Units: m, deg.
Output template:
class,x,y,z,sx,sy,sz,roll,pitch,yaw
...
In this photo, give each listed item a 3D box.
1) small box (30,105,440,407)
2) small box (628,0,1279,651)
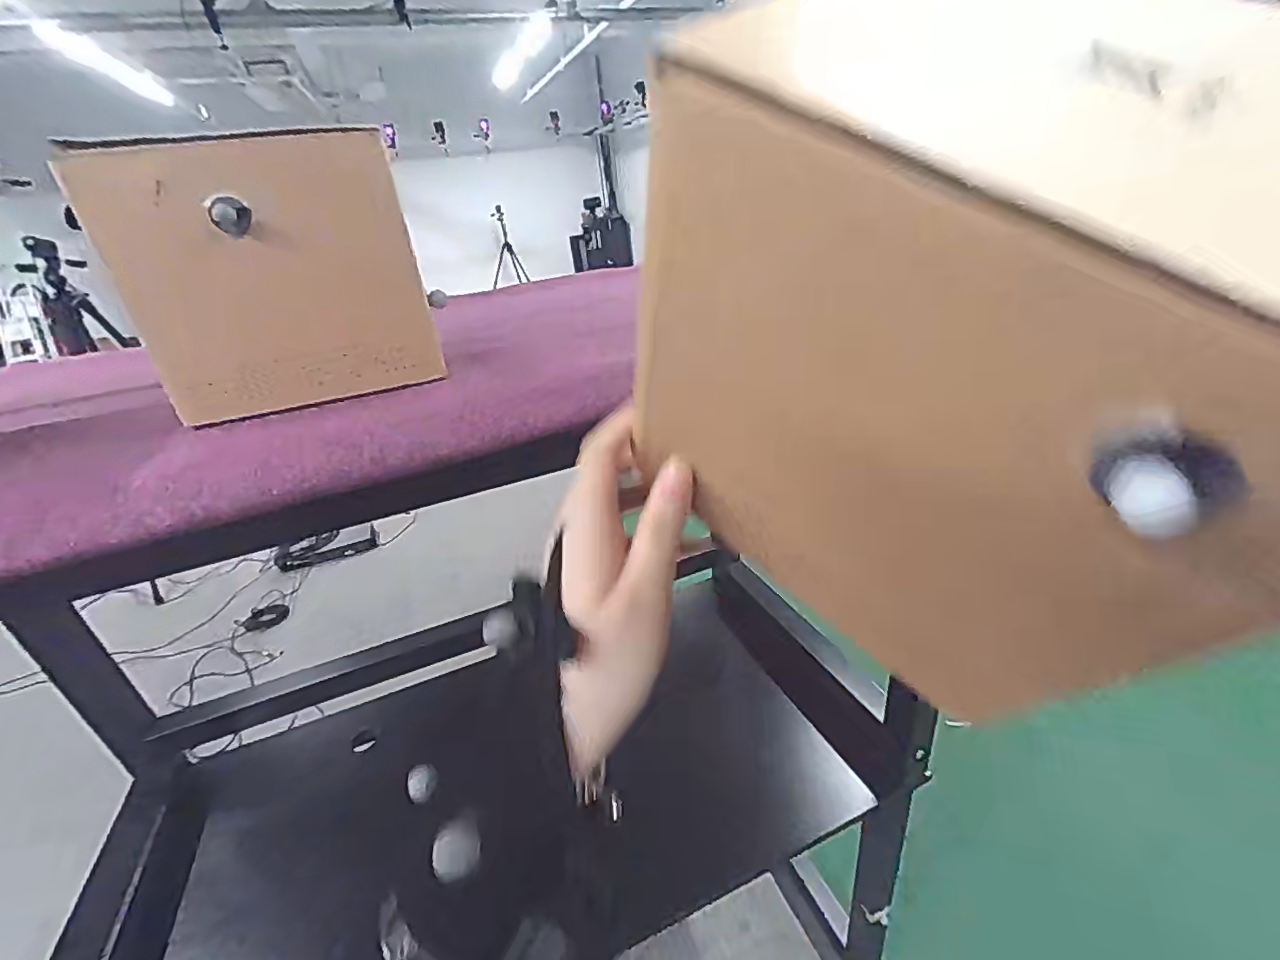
class,x,y,z,sx,sy,sz,roll,pitch,yaw
small box,-0.268,-0.165,0.416,0.179,0.176,0.168,-15,27,-16
small box,0.108,-0.069,0.191,0.179,0.176,0.168,38,63,19
